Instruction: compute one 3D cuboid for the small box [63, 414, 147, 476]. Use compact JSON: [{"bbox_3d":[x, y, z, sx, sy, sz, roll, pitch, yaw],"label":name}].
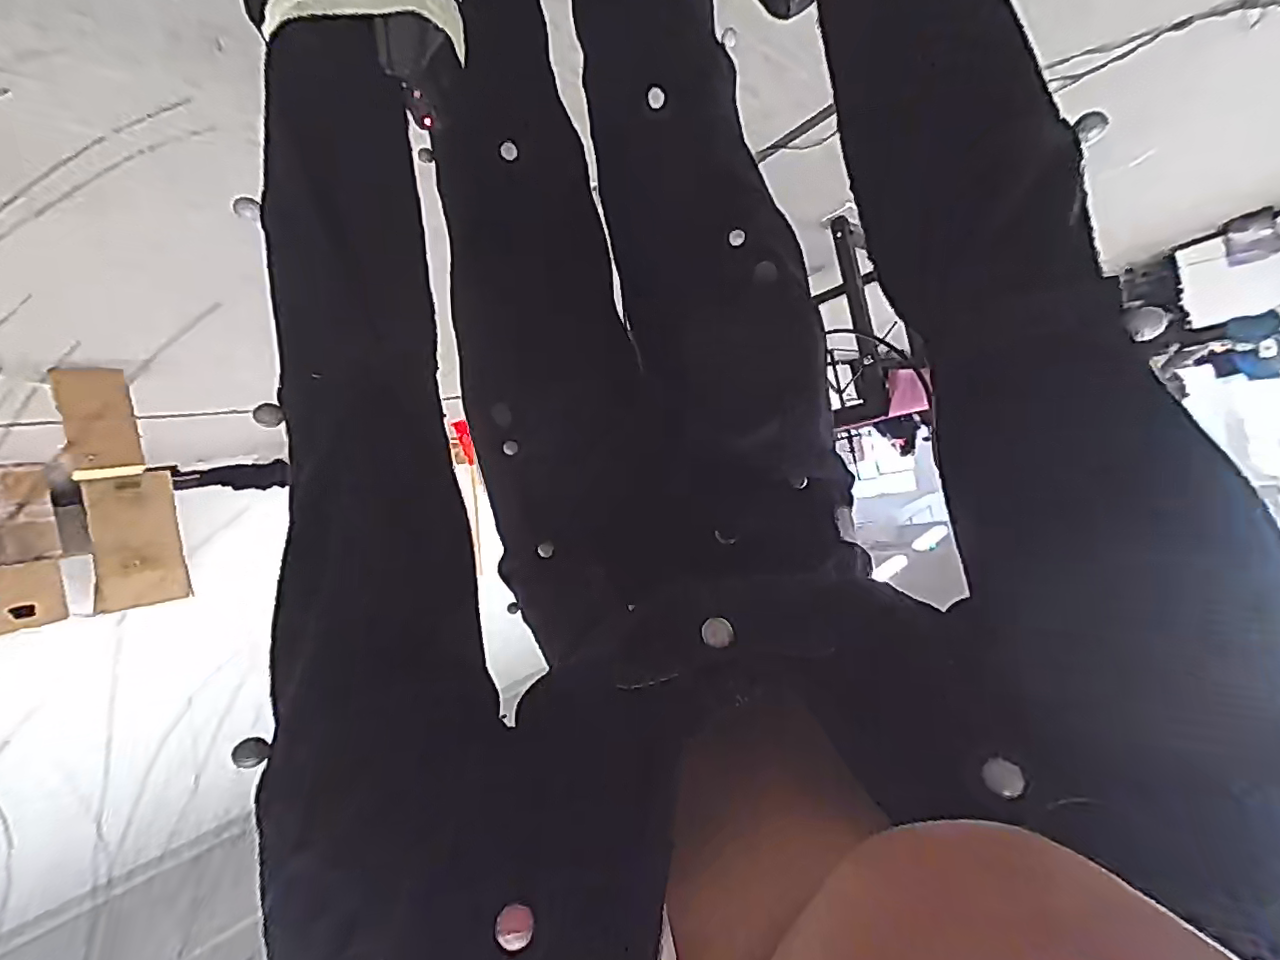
[{"bbox_3d":[-1.803,-0.119,1.818,0.168,0.176,0.179,-12,-178,42],"label":"small box"}]
